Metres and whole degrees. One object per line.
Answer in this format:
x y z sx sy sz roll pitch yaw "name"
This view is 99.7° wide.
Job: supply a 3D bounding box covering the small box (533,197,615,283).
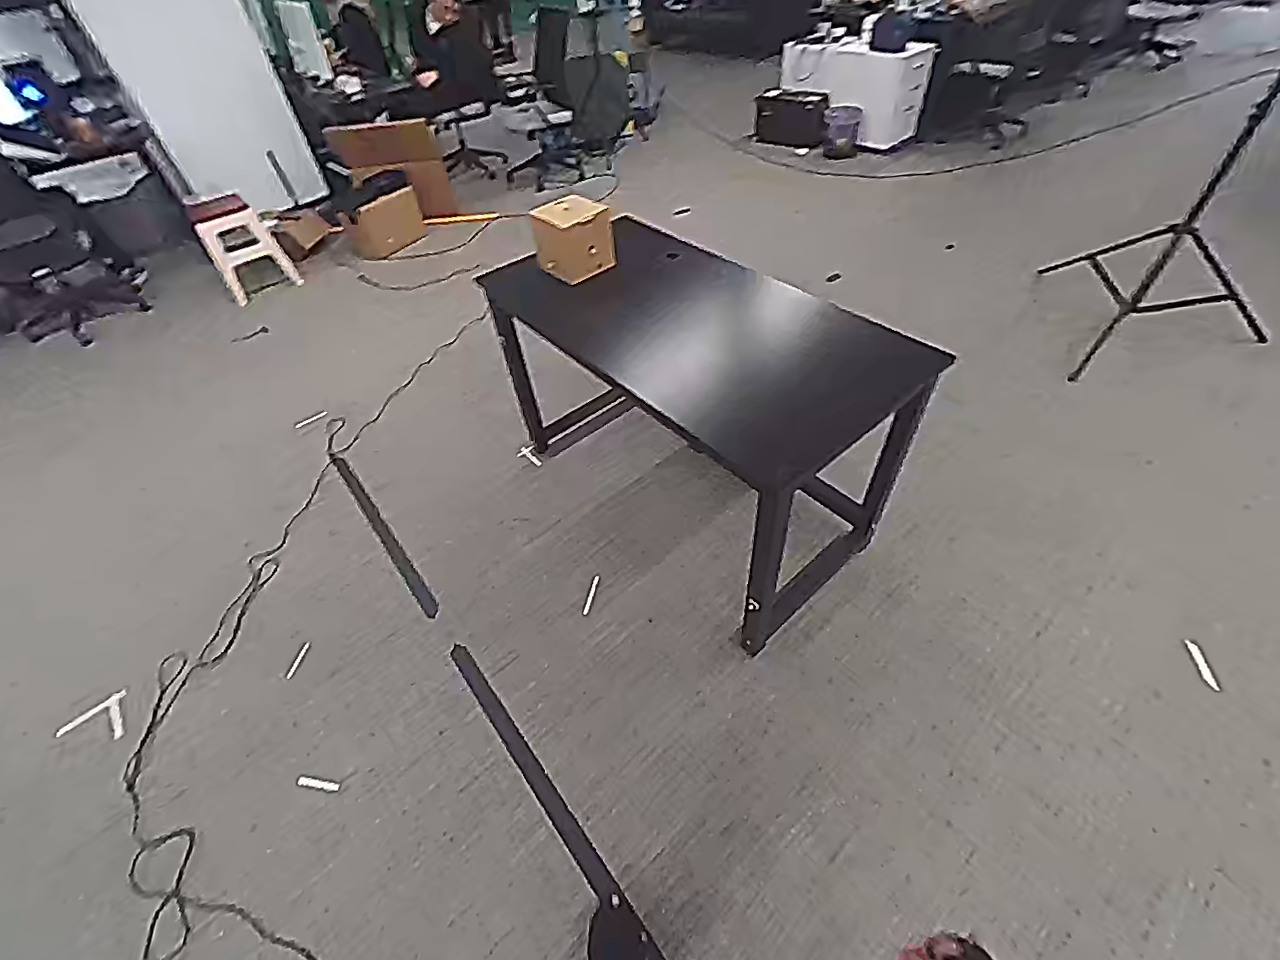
-0.189 -0.707 1.600 0.168 0.176 0.179 -35 55 -25 "small box"
